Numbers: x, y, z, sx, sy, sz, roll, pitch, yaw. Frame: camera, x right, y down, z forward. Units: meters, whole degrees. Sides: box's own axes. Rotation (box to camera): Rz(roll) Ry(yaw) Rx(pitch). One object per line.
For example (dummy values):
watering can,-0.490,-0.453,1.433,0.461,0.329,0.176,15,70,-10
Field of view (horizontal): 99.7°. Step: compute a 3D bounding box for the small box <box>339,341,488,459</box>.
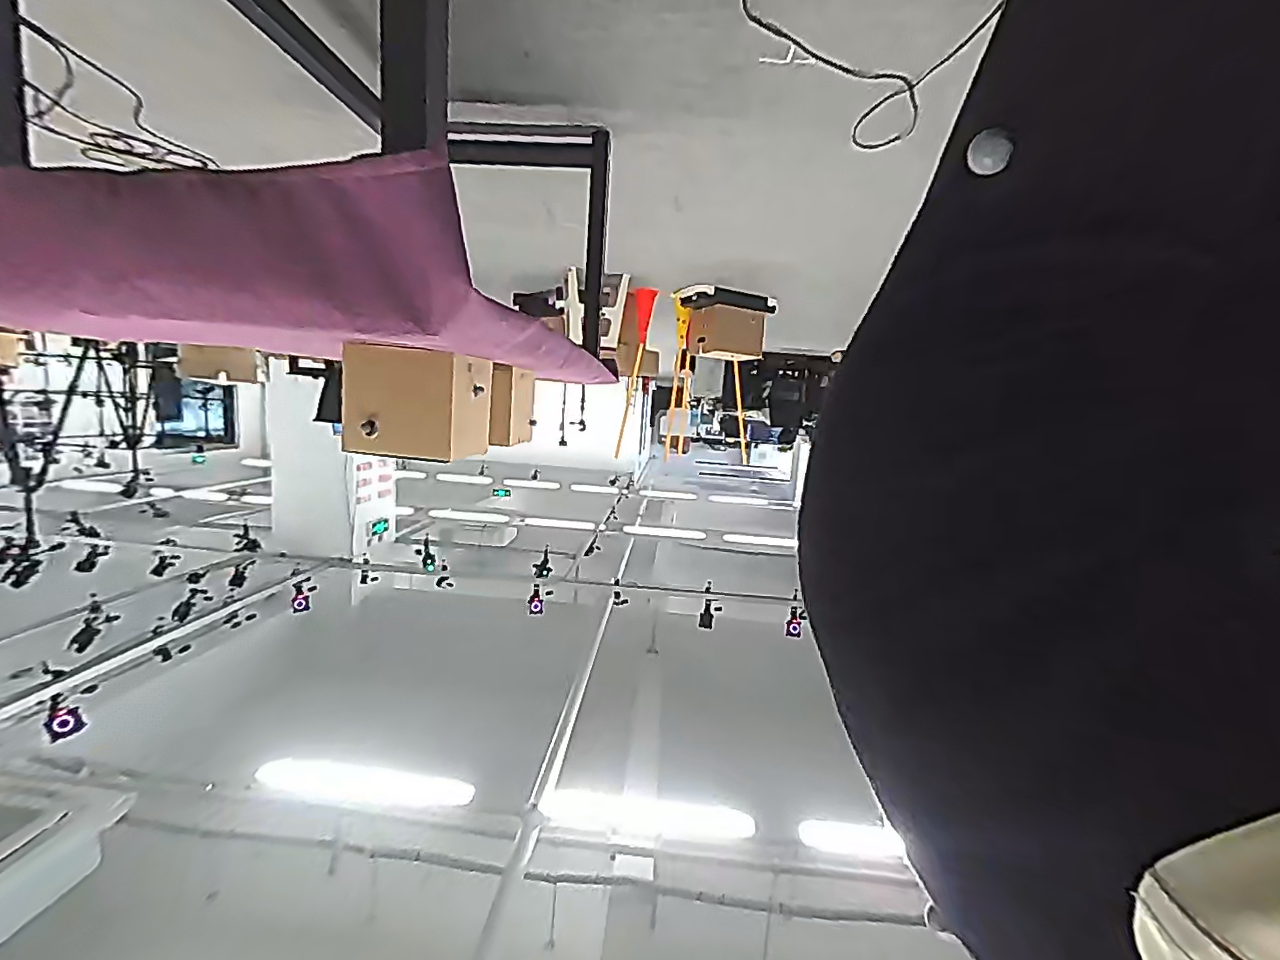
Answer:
small box,-0.360,-0.132,0.885,0.179,0.176,0.168,5,-171,3
